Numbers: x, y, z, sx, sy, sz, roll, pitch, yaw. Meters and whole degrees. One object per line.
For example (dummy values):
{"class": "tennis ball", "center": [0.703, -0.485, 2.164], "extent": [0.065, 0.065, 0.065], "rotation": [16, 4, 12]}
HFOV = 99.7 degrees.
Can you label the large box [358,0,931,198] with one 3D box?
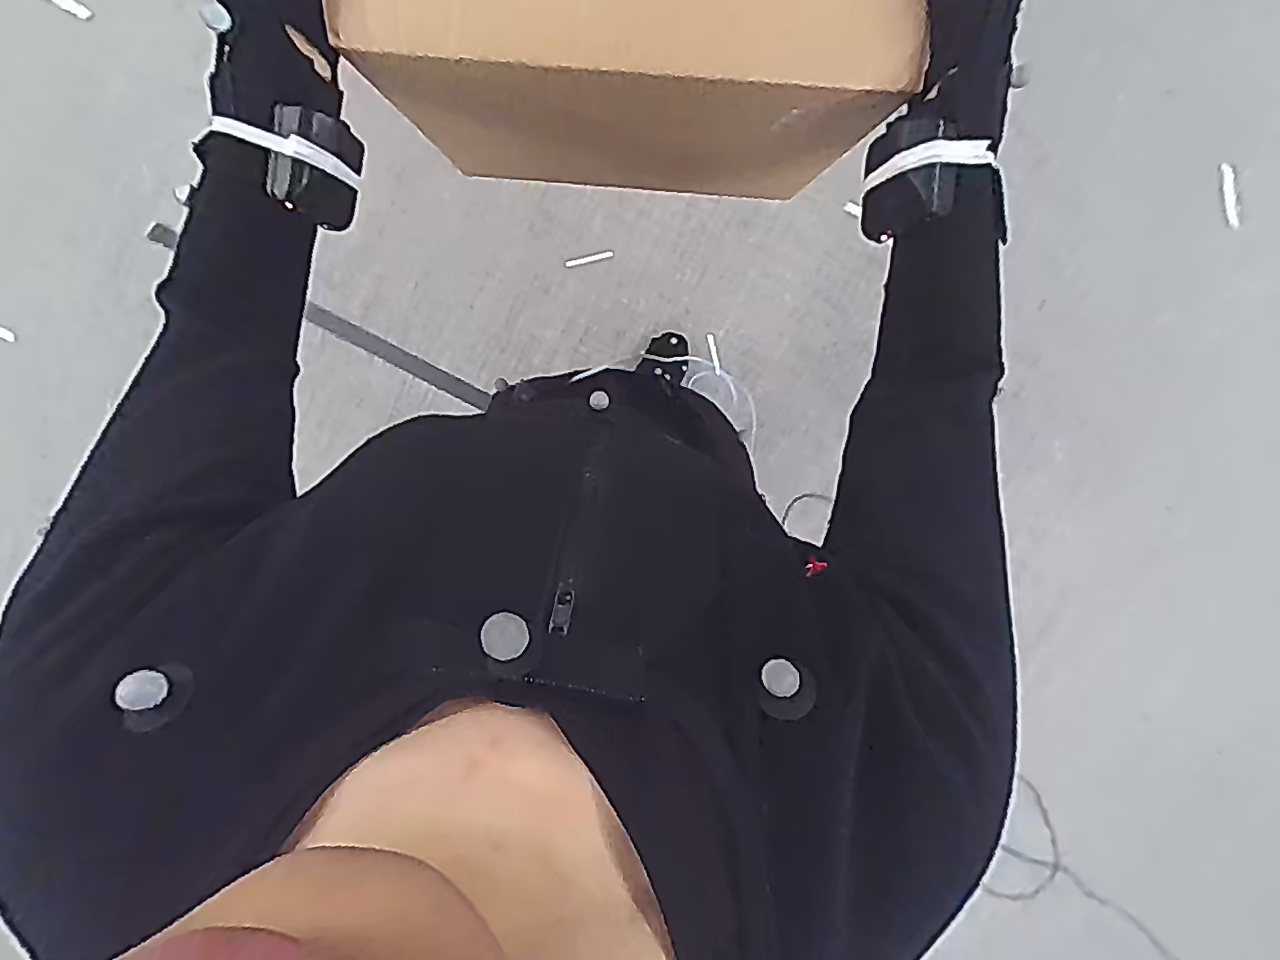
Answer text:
{"class": "large box", "center": [0.006, -0.471, 0.489], "extent": [0.408, 0.320, 0.320], "rotation": [4, 105, -3]}
